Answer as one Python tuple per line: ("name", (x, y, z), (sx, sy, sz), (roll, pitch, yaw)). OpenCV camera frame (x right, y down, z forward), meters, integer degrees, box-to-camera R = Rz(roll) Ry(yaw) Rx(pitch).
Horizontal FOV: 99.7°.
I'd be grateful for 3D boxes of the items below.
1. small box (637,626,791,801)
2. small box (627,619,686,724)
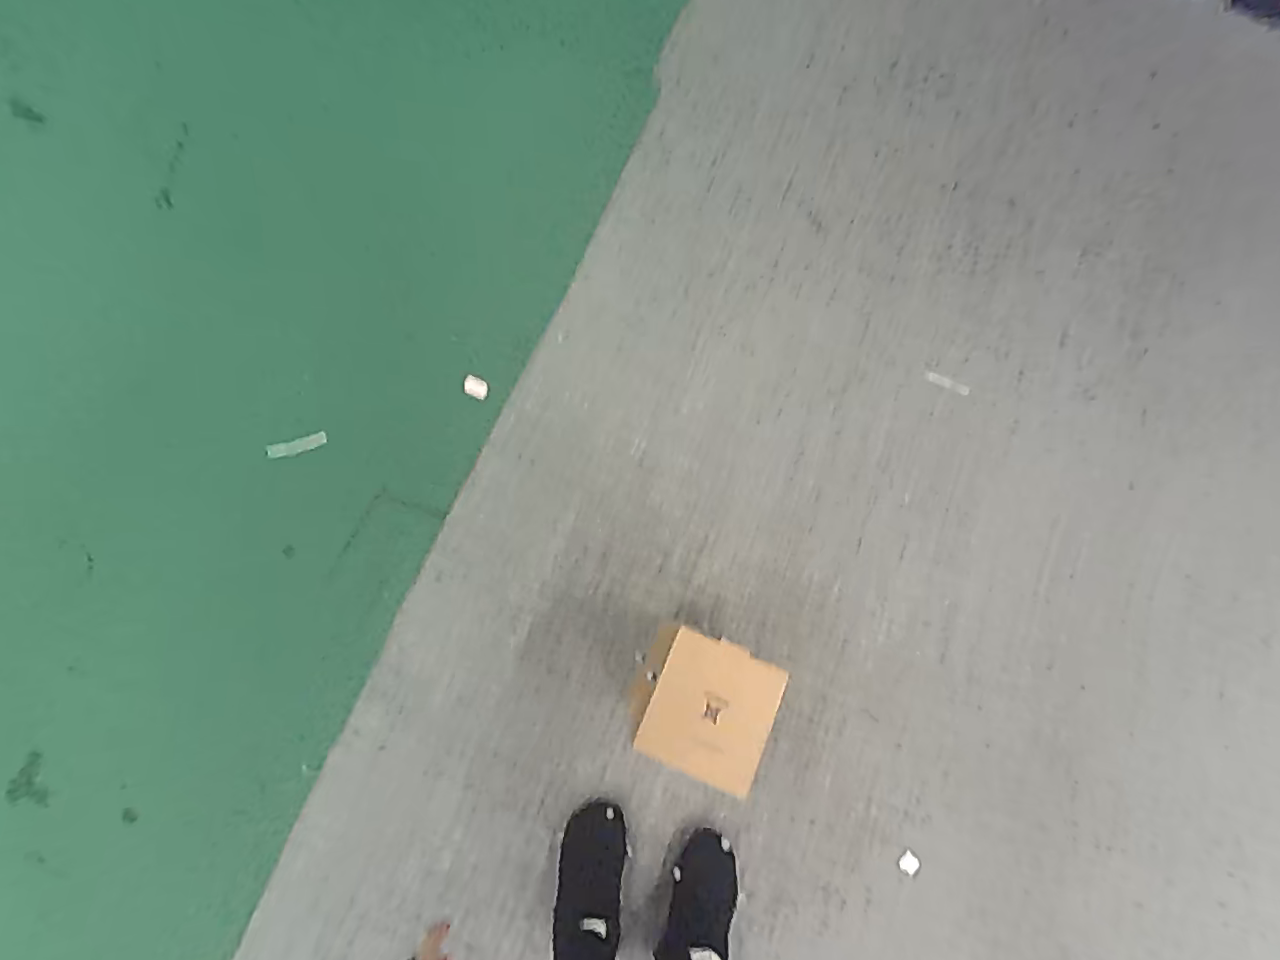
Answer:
("small box", (0.098, 0.327, 0.802), (0.168, 0.176, 0.179), (22, 78, 4))
("small box", (0.088, 0.363, 0.961), (0.168, 0.176, 0.179), (26, 78, 3))
